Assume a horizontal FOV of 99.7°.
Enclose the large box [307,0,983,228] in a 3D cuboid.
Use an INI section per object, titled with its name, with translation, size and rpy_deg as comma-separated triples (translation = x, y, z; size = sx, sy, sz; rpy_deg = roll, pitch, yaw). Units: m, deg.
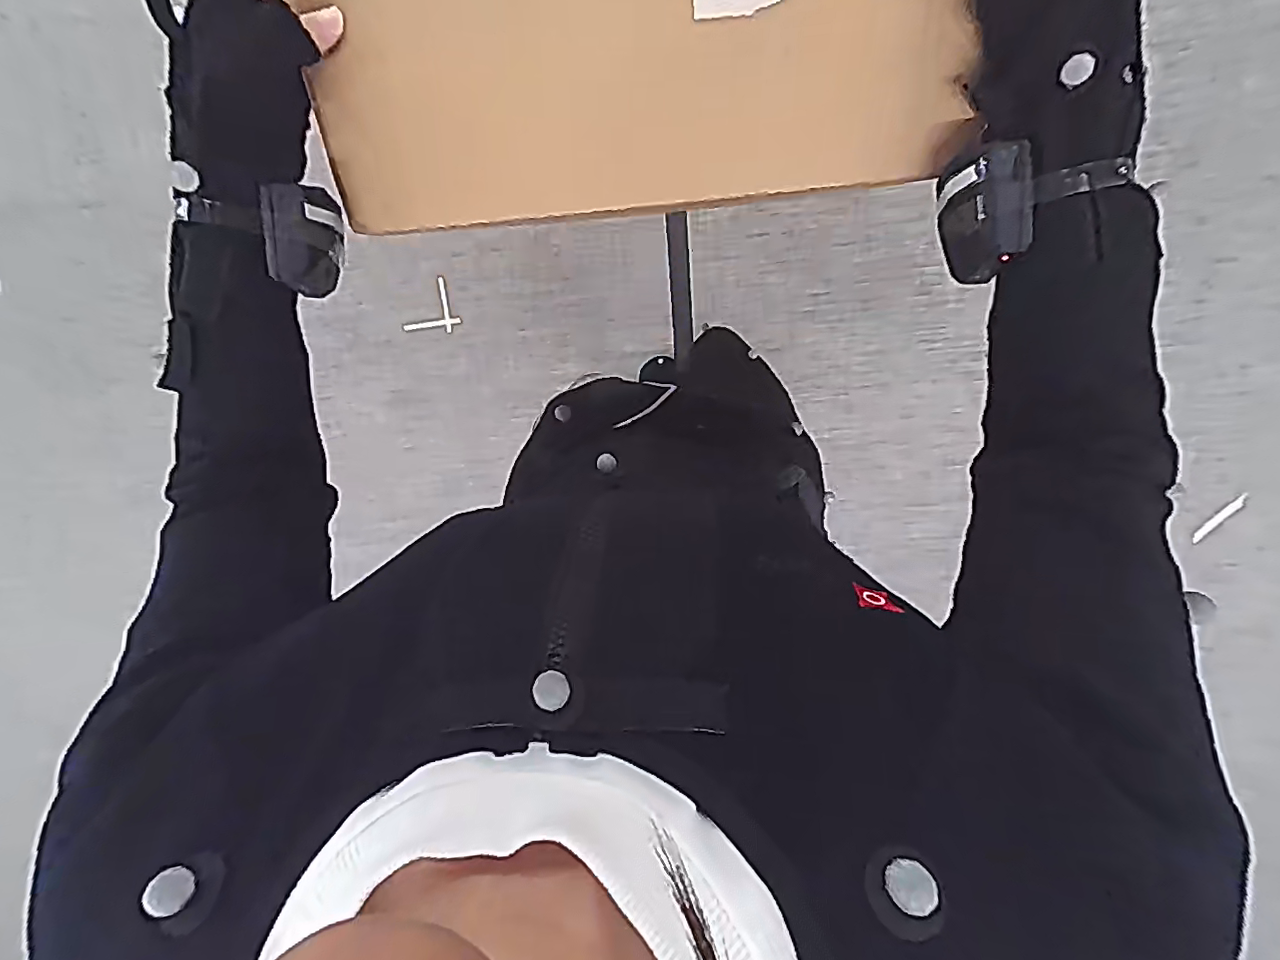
[large box]
translation = 0.003, -0.394, 0.428
size = 0.408, 0.320, 0.320
rpy_deg = -2, 117, 8
